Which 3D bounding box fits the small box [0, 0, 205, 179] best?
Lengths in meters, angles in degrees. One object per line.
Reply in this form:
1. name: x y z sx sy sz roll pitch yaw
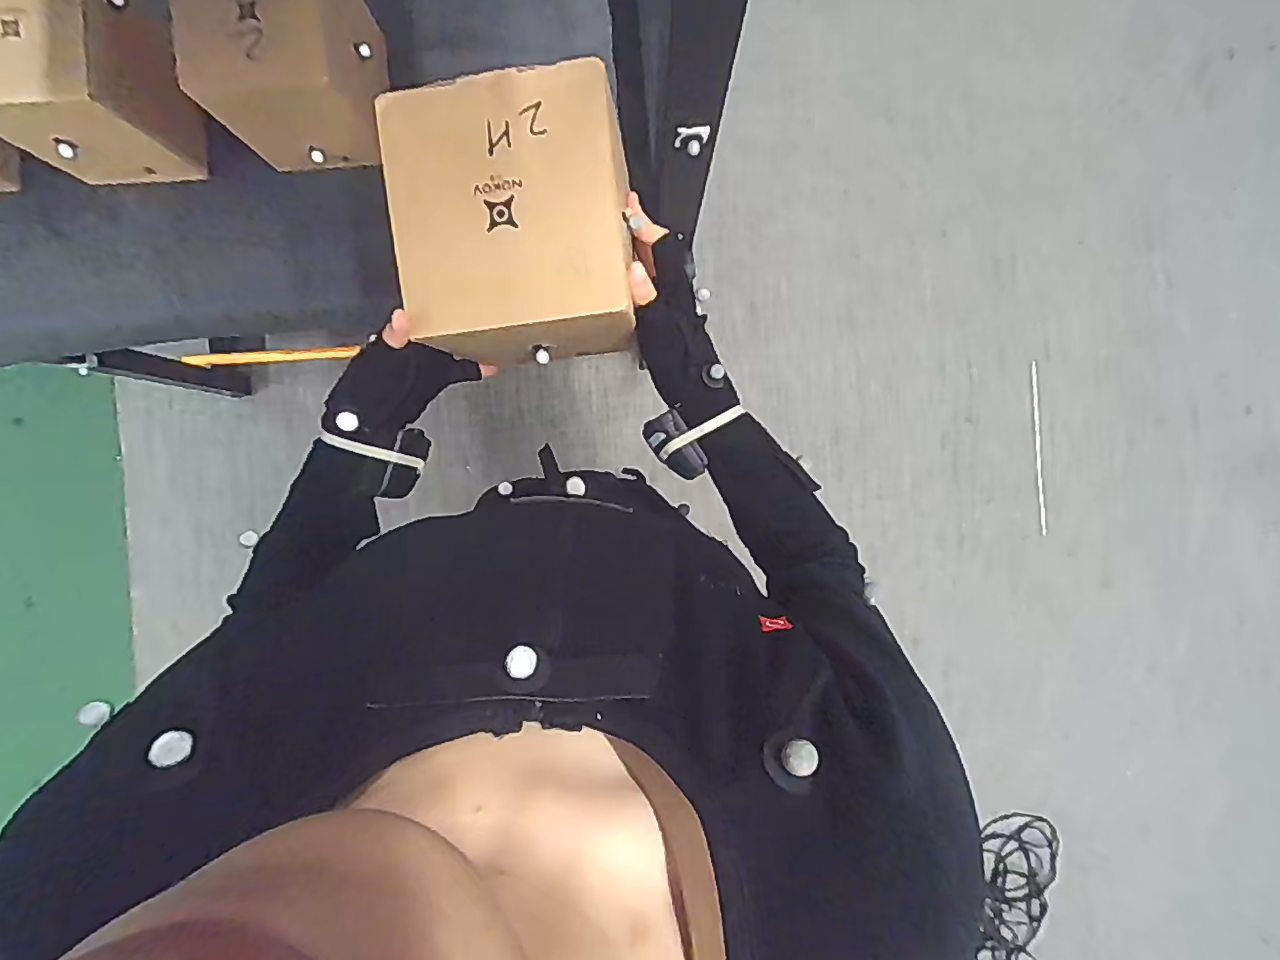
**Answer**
1. small box: -0.684 -0.496 0.669 0.168 0.176 0.179 -3 90 -1
